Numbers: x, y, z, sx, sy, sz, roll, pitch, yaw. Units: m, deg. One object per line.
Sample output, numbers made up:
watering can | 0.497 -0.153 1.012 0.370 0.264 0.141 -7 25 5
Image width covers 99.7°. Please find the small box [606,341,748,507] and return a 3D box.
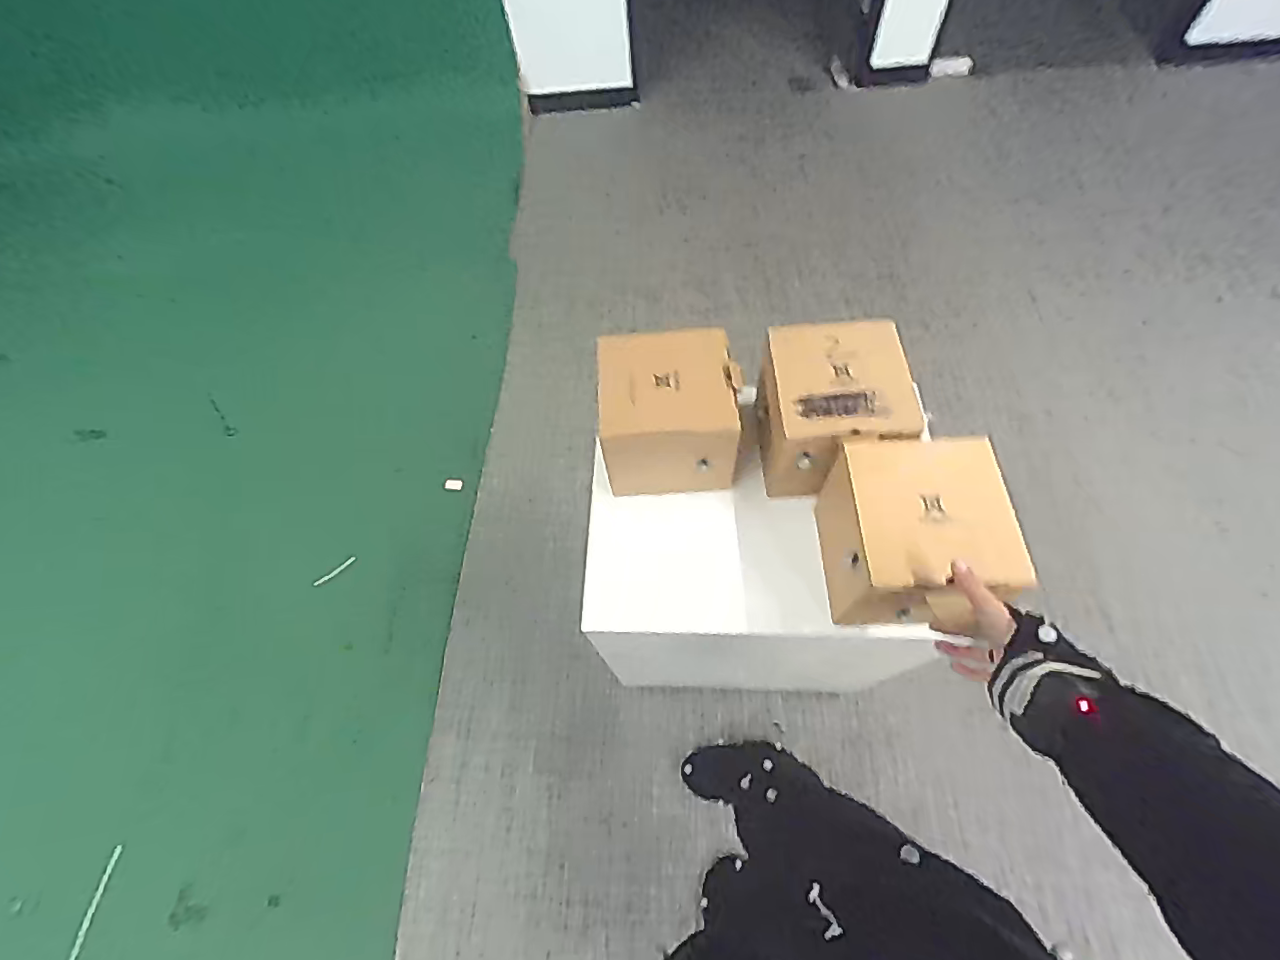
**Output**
small box | 0.047 -0.073 0.763 0.179 0.176 0.168 -4 60 3

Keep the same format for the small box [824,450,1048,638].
small box | 0.331 0.081 0.651 0.168 0.176 0.179 -2 61 4
